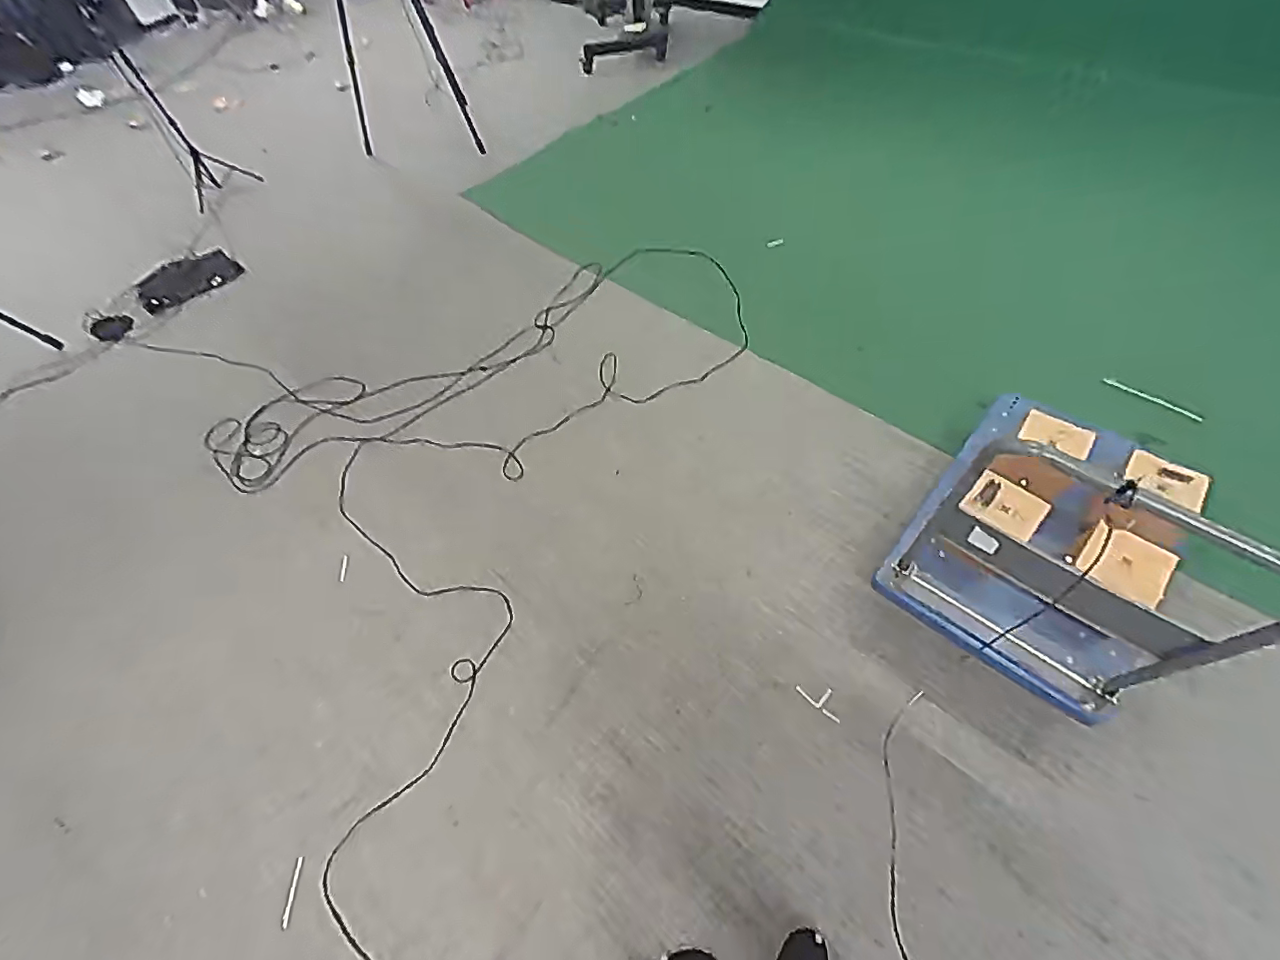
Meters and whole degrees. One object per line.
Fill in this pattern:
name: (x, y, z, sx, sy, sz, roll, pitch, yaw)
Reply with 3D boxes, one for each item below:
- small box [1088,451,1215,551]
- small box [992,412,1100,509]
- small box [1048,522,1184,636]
small box: (1.319, 0.065, 1.405, 0.168, 0.176, 0.179, 30, 66, 25)
small box: (1.122, -0.050, 1.510, 0.168, 0.176, 0.179, 31, 65, 24)
small box: (1.139, 0.242, 1.309, 0.168, 0.176, 0.179, 36, 68, 27)
